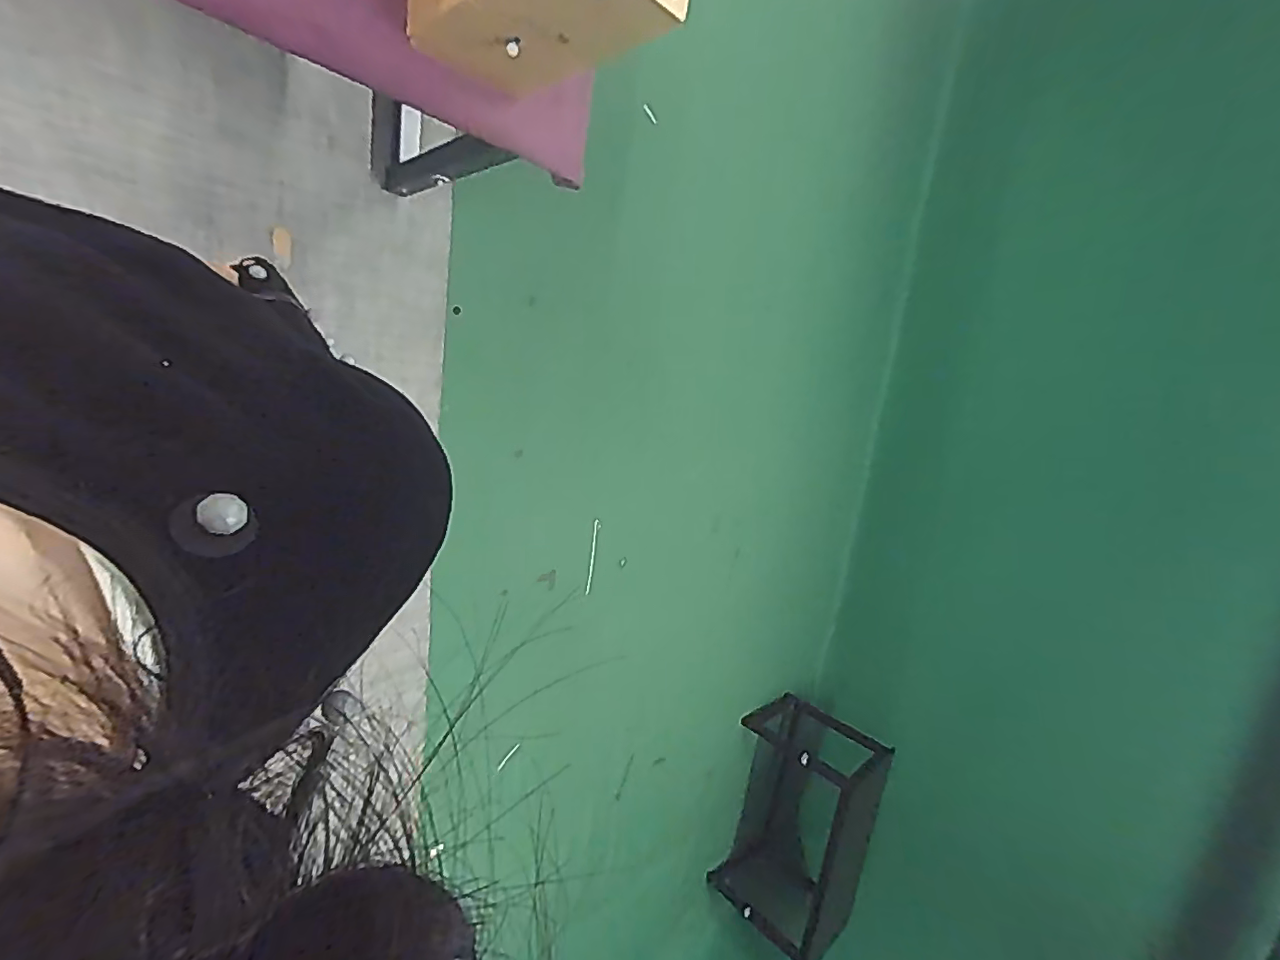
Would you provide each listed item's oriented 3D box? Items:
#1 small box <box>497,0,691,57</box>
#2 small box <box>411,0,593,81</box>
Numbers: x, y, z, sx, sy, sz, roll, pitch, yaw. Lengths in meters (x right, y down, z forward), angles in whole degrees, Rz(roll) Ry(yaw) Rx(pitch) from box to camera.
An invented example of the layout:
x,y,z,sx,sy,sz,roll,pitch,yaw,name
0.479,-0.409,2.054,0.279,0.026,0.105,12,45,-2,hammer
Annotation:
x,y,z,sx,sy,sz,roll,pitch,yaw,name
-0.051,-0.596,0.562,0.168,0.176,0.179,-3,106,-42,small box
-0.164,-0.635,0.675,0.179,0.176,0.168,-4,108,-42,small box
